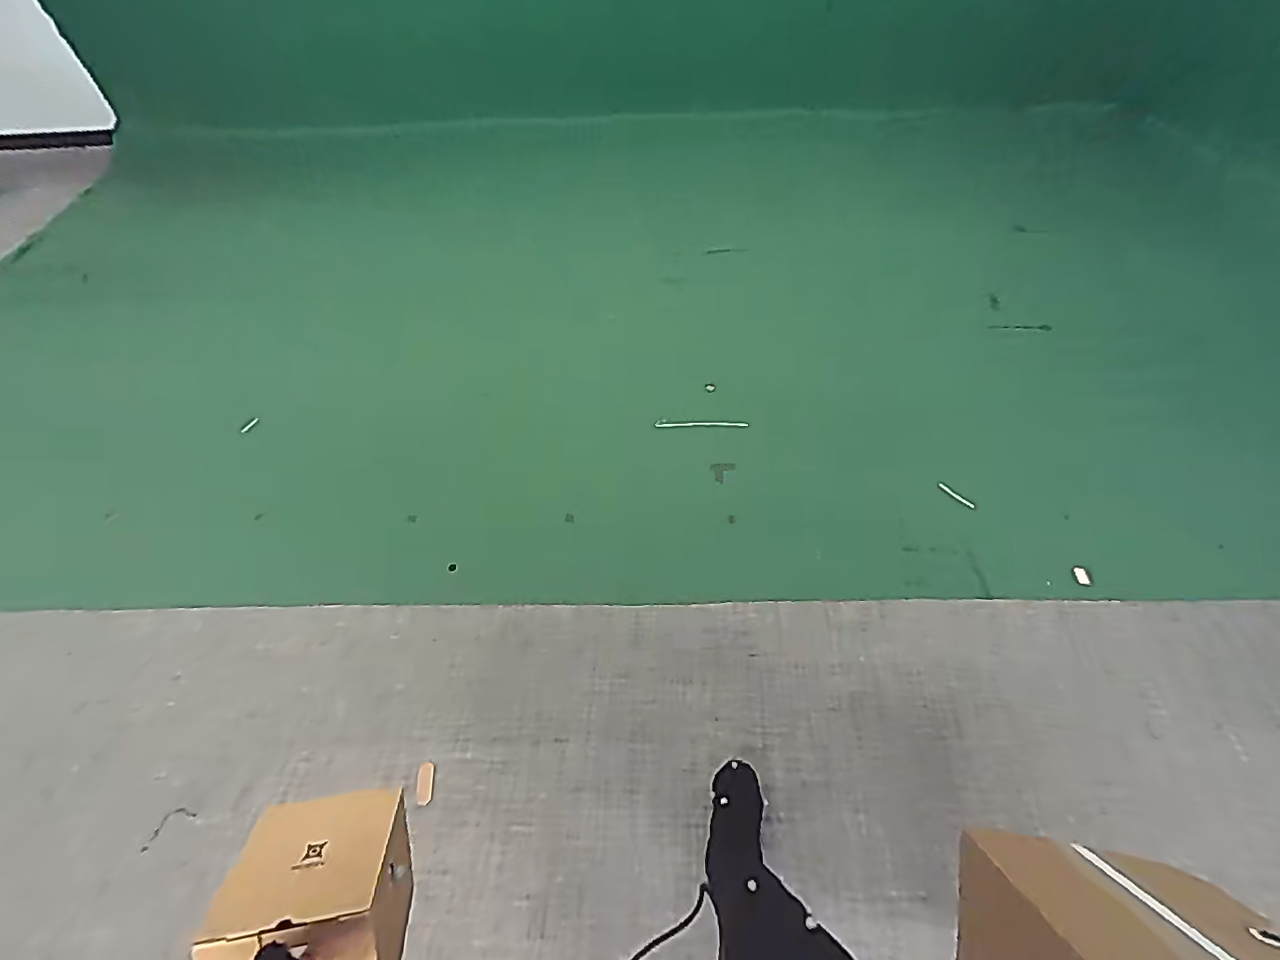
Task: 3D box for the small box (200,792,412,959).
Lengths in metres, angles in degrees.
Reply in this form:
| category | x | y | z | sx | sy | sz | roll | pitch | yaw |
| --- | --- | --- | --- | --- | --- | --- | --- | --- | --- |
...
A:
| category | x | y | z | sx | sy | sz | roll | pitch | yaw |
| --- | --- | --- | --- | --- | --- | --- | --- | --- | --- |
| small box | -0.377 | 0.519 | 0.647 | 0.168 | 0.176 | 0.179 | -3 | 13 | -13 |
